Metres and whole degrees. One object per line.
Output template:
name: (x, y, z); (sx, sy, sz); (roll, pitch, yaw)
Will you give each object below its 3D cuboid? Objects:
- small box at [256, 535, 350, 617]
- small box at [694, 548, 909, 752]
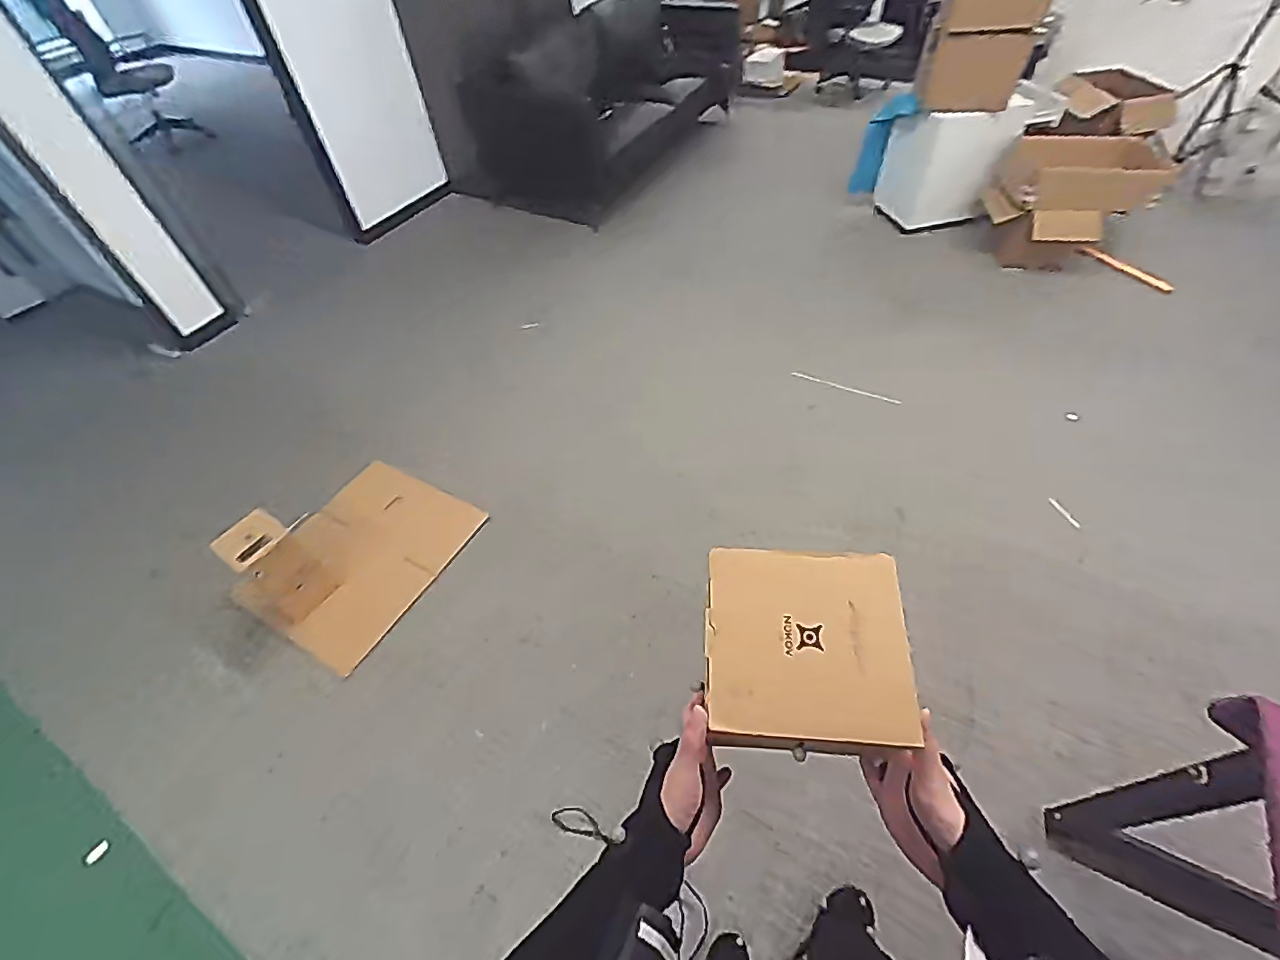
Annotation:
small box: (-1.114, 0.324, 1.802); (0.168, 0.176, 0.179); (26, 57, 23)
small box: (0.147, 0.179, 0.554); (0.179, 0.176, 0.168); (1, 62, 7)
